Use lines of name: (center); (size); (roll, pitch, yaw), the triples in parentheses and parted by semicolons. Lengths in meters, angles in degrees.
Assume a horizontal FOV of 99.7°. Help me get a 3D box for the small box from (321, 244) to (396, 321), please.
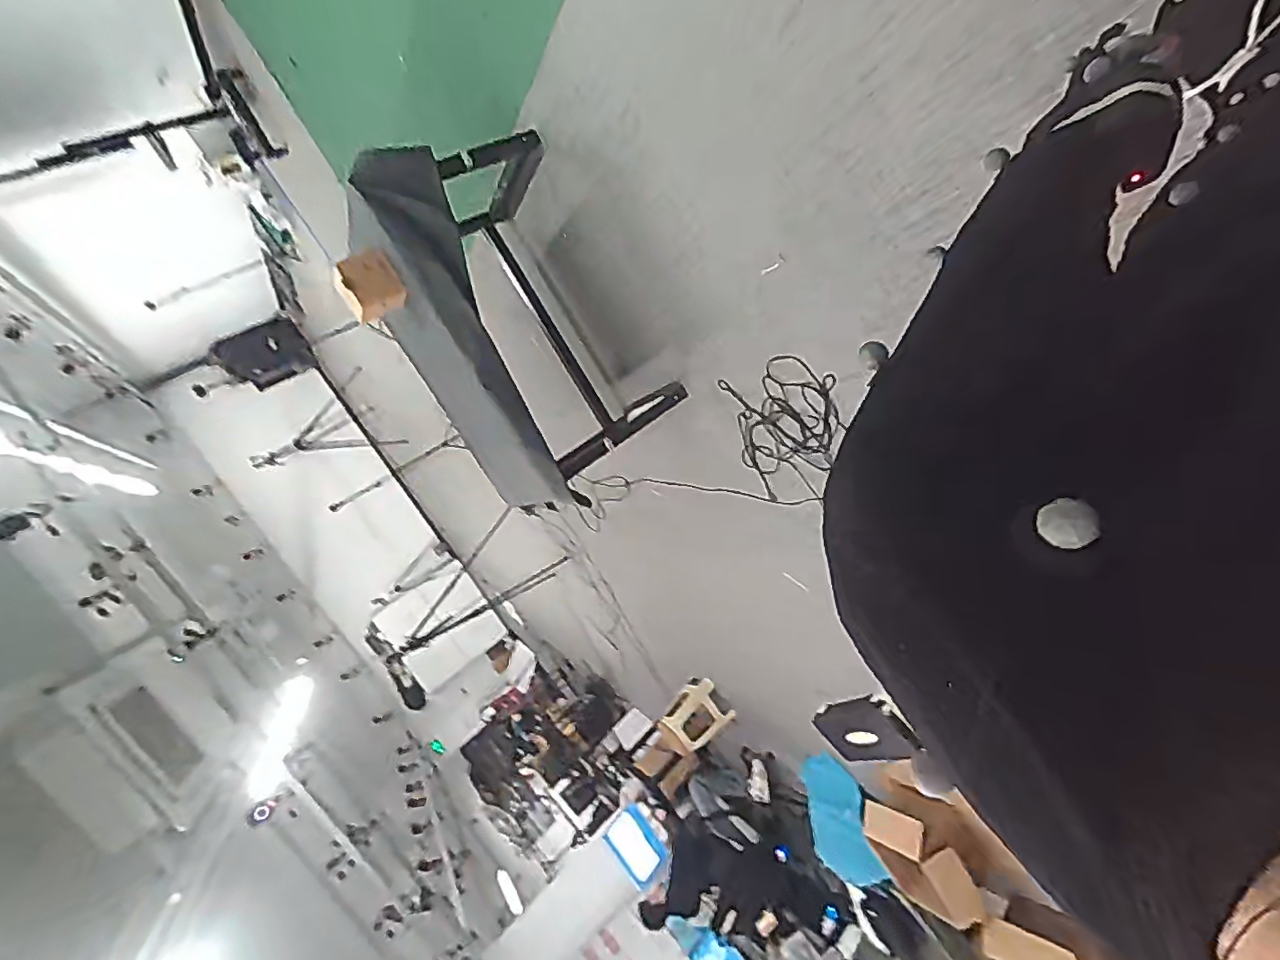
small box: (-0.961, -0.679, 1.856); (0.168, 0.176, 0.179); (60, 154, -12)
